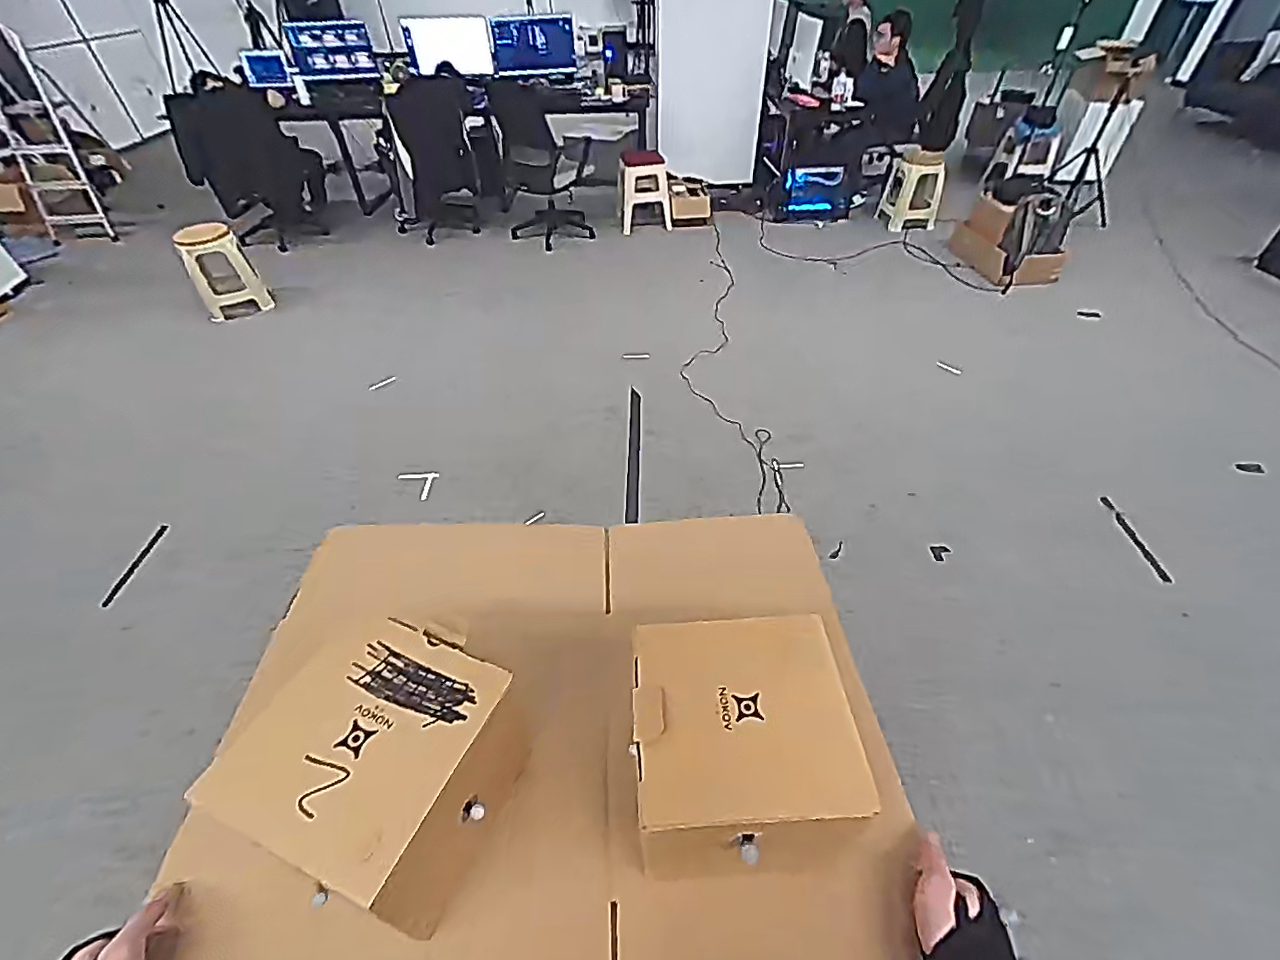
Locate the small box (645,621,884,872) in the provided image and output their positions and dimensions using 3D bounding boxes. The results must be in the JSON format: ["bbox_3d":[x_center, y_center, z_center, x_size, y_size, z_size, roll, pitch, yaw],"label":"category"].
[{"bbox_3d":[0.096,0.252,0.511,0.179,0.176,0.168,-4,43,1],"label":"small box"}]
